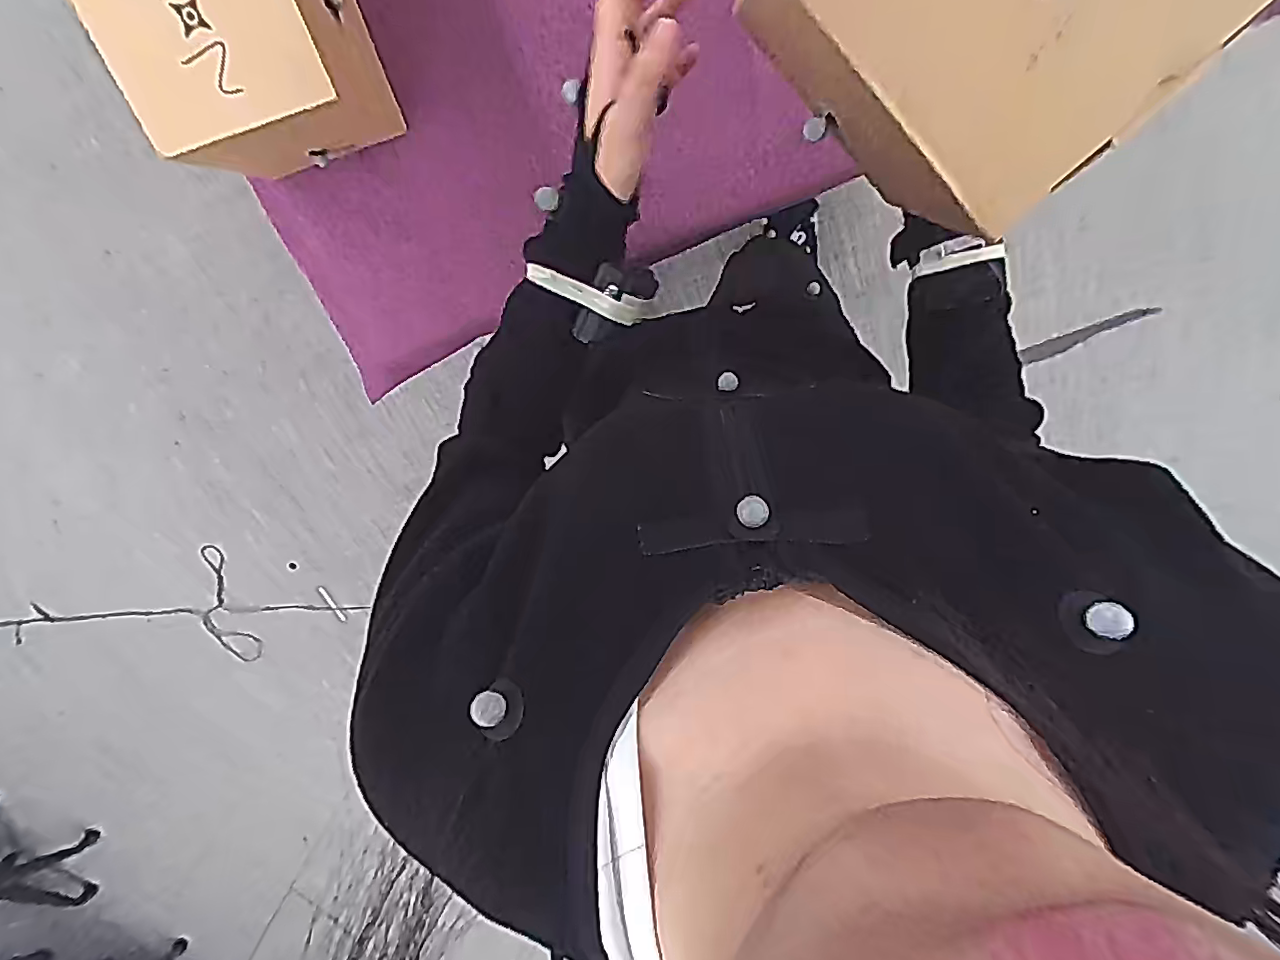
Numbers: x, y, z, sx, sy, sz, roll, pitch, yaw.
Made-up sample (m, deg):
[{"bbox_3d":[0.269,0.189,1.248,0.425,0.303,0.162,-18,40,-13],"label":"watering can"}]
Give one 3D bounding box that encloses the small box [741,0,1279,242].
[{"bbox_3d":[0.176,-0.267,0.287,0.179,0.176,0.168,36,118,-21],"label":"small box"}]
